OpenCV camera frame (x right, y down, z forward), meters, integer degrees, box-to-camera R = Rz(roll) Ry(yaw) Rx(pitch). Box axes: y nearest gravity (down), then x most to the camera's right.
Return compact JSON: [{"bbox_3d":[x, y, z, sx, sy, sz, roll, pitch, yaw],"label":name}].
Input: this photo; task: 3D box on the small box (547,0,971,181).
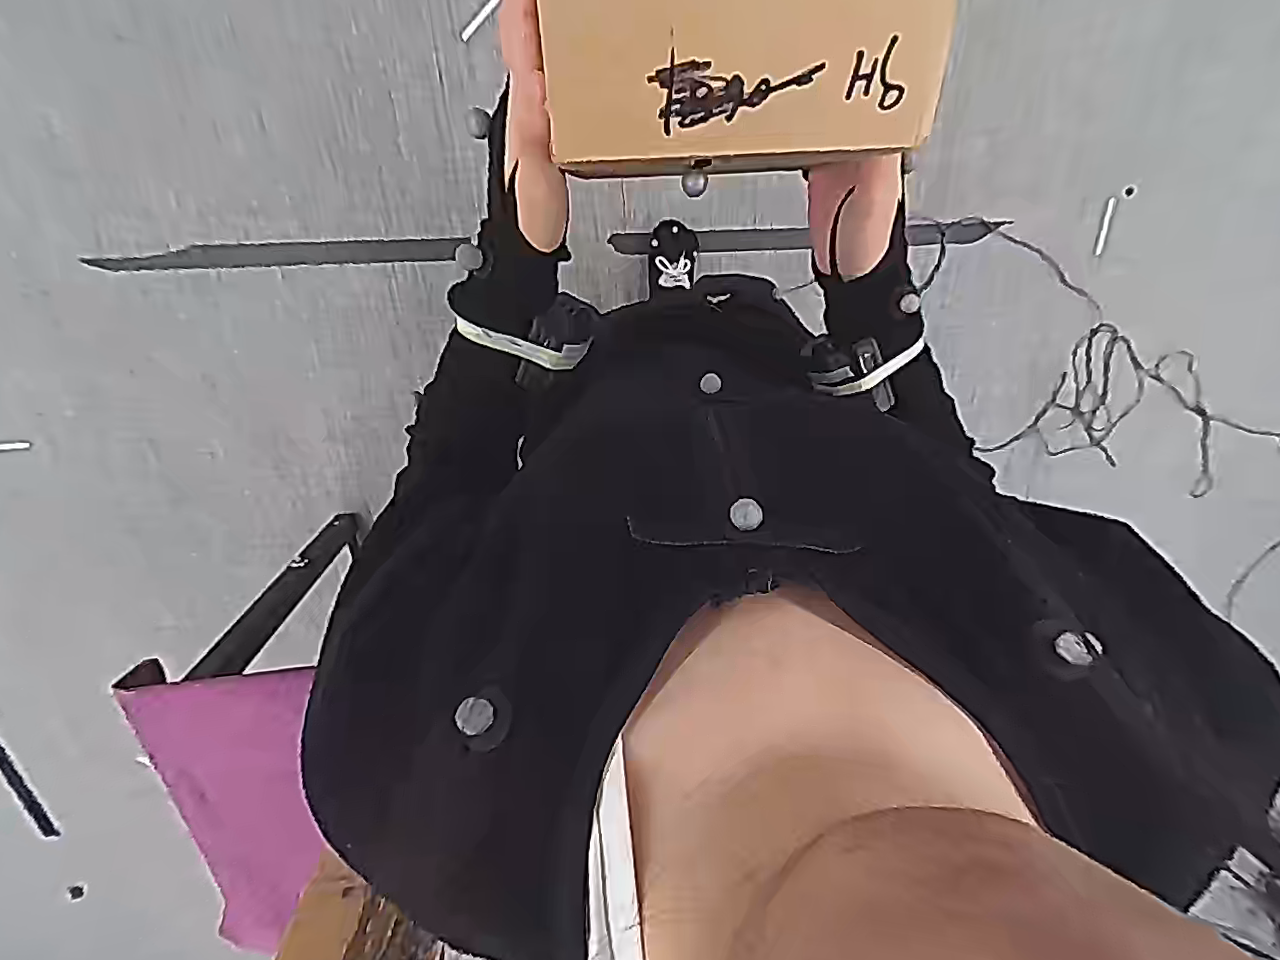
[{"bbox_3d":[0.041,-0.252,0.261,0.168,0.176,0.179,-3,117,-1],"label":"small box"}]
